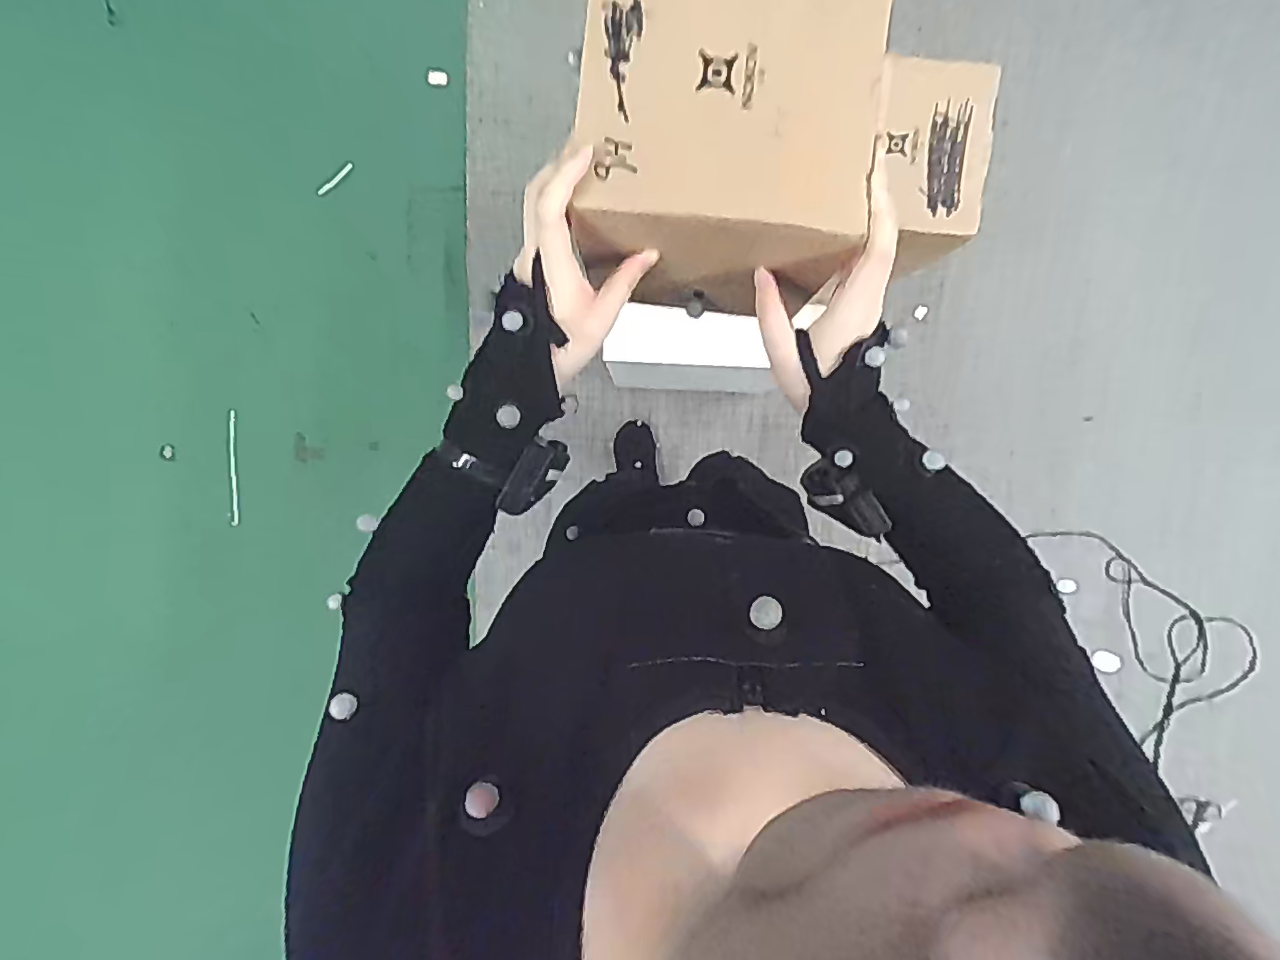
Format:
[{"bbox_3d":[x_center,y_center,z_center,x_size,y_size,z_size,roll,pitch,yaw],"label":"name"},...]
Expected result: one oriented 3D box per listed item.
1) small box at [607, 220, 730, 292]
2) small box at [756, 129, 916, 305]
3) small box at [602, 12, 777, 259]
[{"bbox_3d":[0.040,-0.386,0.782,0.168,0.176,0.179,3,96,-1],"label":"small box"},{"bbox_3d":[0.272,-0.369,0.786,0.168,0.176,0.179,4,96,0],"label":"small box"},{"bbox_3d":[0.047,-0.374,0.618,0.168,0.176,0.179,4,95,-1],"label":"small box"}]
